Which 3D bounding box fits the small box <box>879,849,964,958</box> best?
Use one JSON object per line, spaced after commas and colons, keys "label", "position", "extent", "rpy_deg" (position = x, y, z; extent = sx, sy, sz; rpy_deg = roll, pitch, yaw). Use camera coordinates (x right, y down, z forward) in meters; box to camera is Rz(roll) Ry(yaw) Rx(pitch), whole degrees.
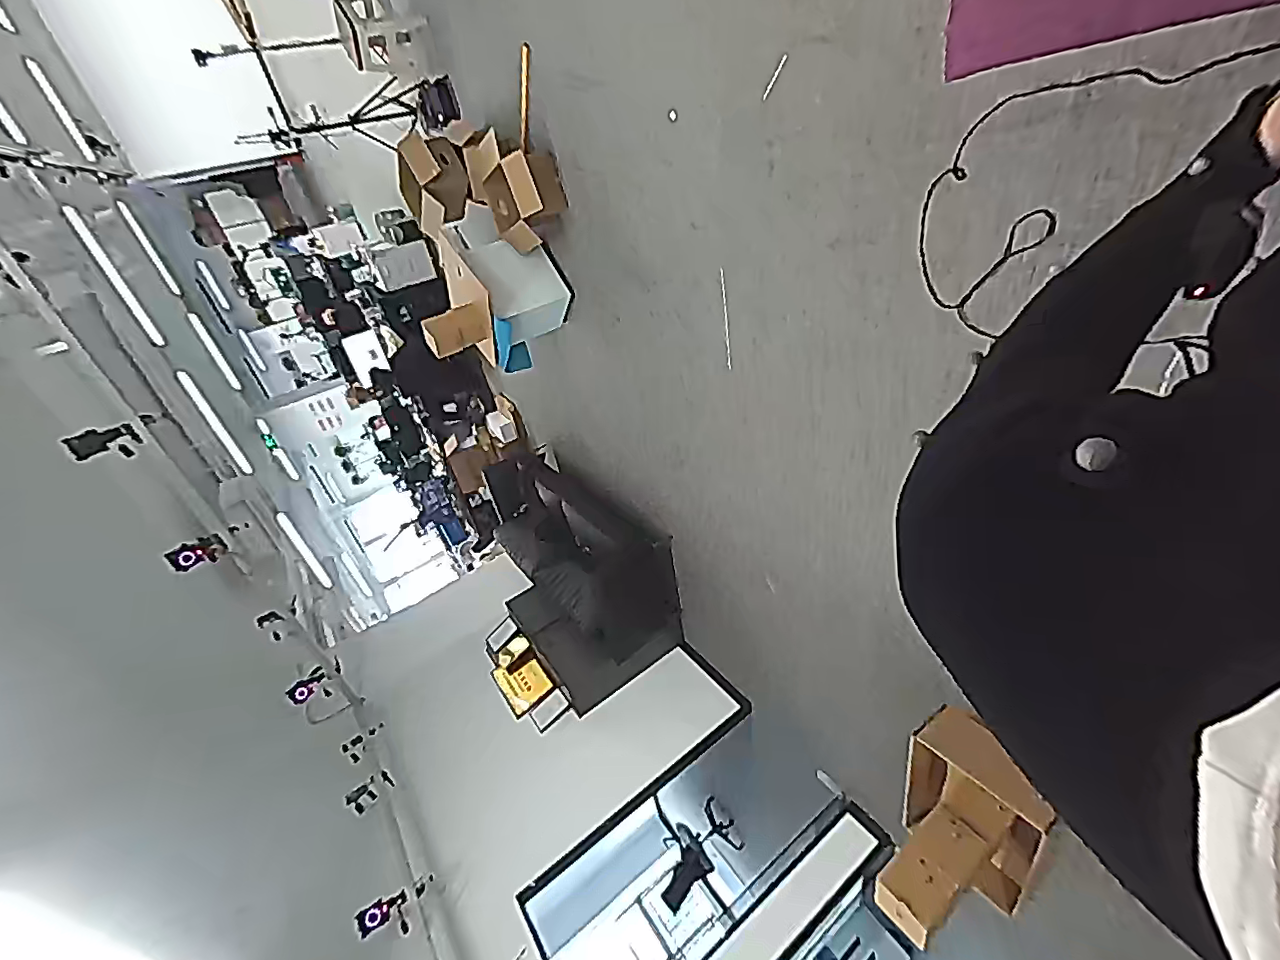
{"label": "small box", "position": [0.849, 1.274, 1.635], "extent": [0.168, 0.176, 0.179], "rpy_deg": [31, 142, 49]}

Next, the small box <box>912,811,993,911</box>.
{"label": "small box", "position": [0.976, 1.197, 1.699], "extent": [0.168, 0.176, 0.179], "rpy_deg": [30, 142, 48]}

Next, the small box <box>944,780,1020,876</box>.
{"label": "small box", "position": [1.110, 1.131, 1.771], "extent": [0.168, 0.176, 0.179], "rpy_deg": [32, 144, 48]}
